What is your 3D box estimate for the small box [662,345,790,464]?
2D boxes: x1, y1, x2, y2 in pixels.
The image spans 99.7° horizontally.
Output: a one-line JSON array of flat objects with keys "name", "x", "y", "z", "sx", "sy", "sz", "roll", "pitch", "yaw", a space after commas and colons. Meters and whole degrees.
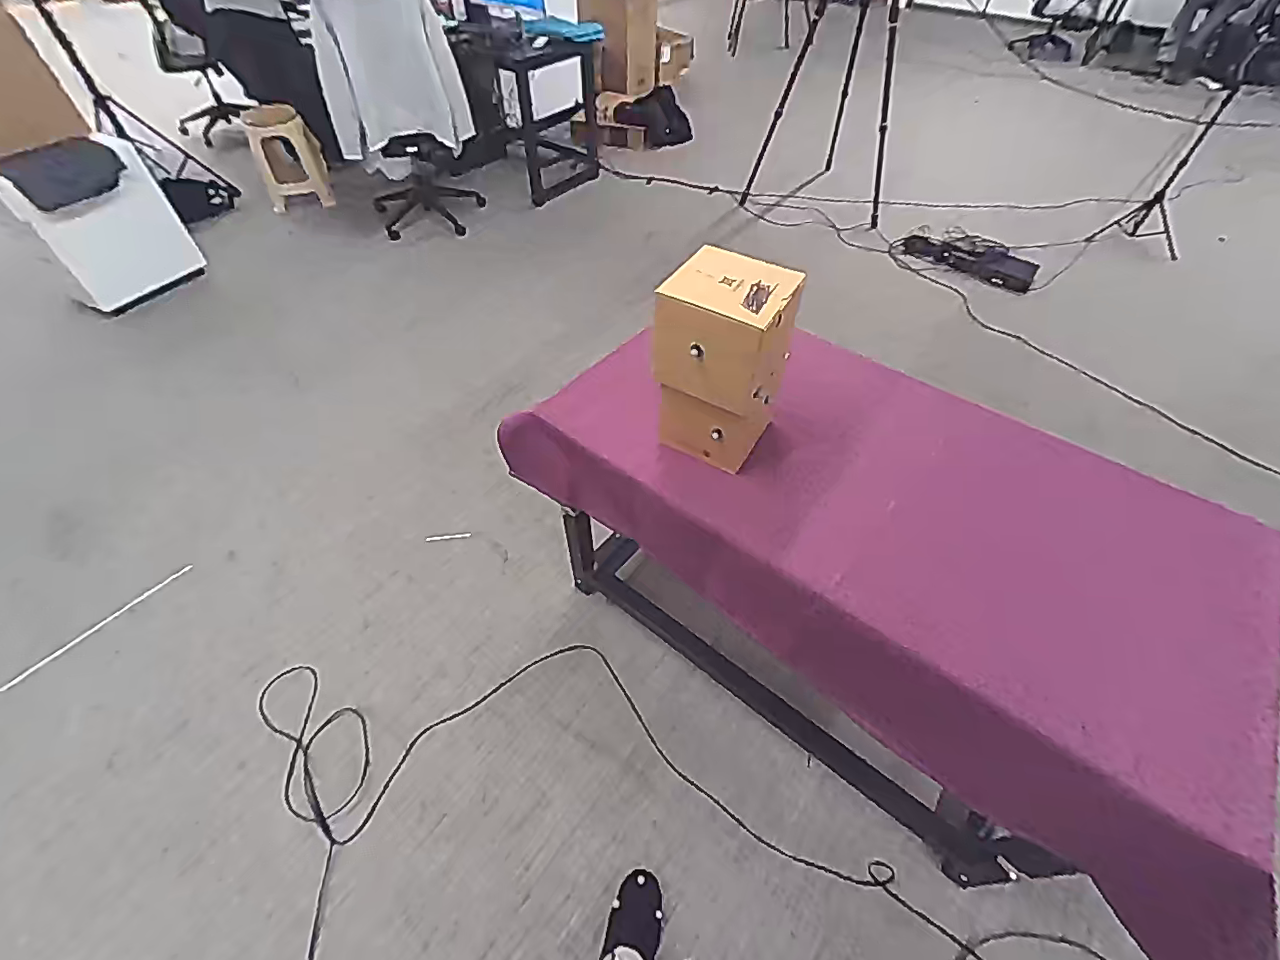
[{"name": "small box", "x": 0.152, "y": -0.160, "z": 0.994, "sx": 0.168, "sy": 0.176, "sz": 0.179, "roll": 27, "pitch": 55, "yaw": 19}]

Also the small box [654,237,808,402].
[{"name": "small box", "x": 0.136, "y": -0.248, "z": 0.855, "sx": 0.179, "sy": 0.176, "sz": 0.168, "roll": 26, "pitch": 56, "yaw": 19}]
